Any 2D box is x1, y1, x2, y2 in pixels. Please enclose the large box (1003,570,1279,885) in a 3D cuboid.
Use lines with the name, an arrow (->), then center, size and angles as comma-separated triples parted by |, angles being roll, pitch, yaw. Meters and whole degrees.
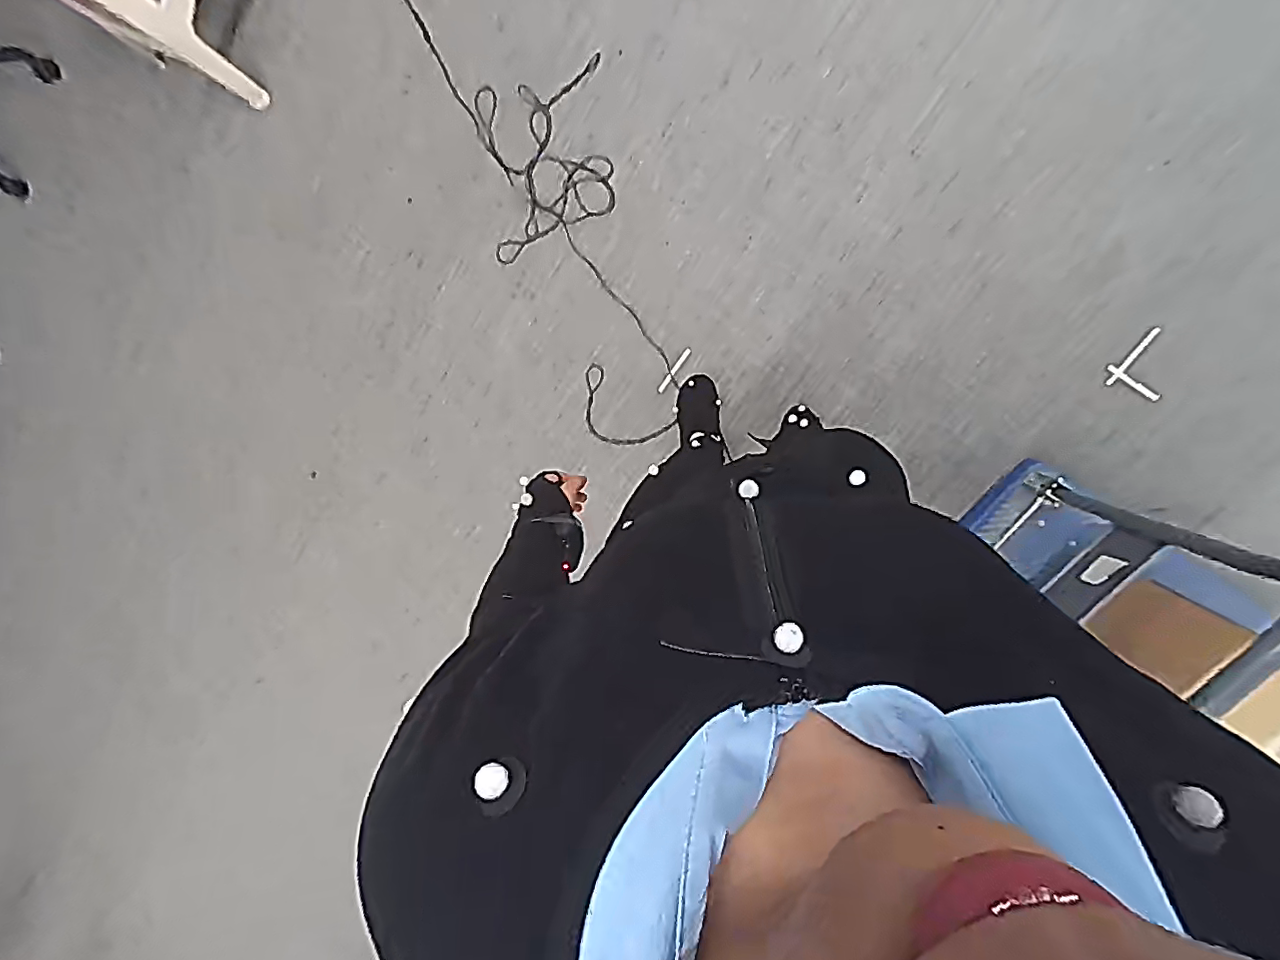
large box -> 1.049, 0.460, 1.074 | 0.320, 0.320, 0.408 | 37, 104, 2
